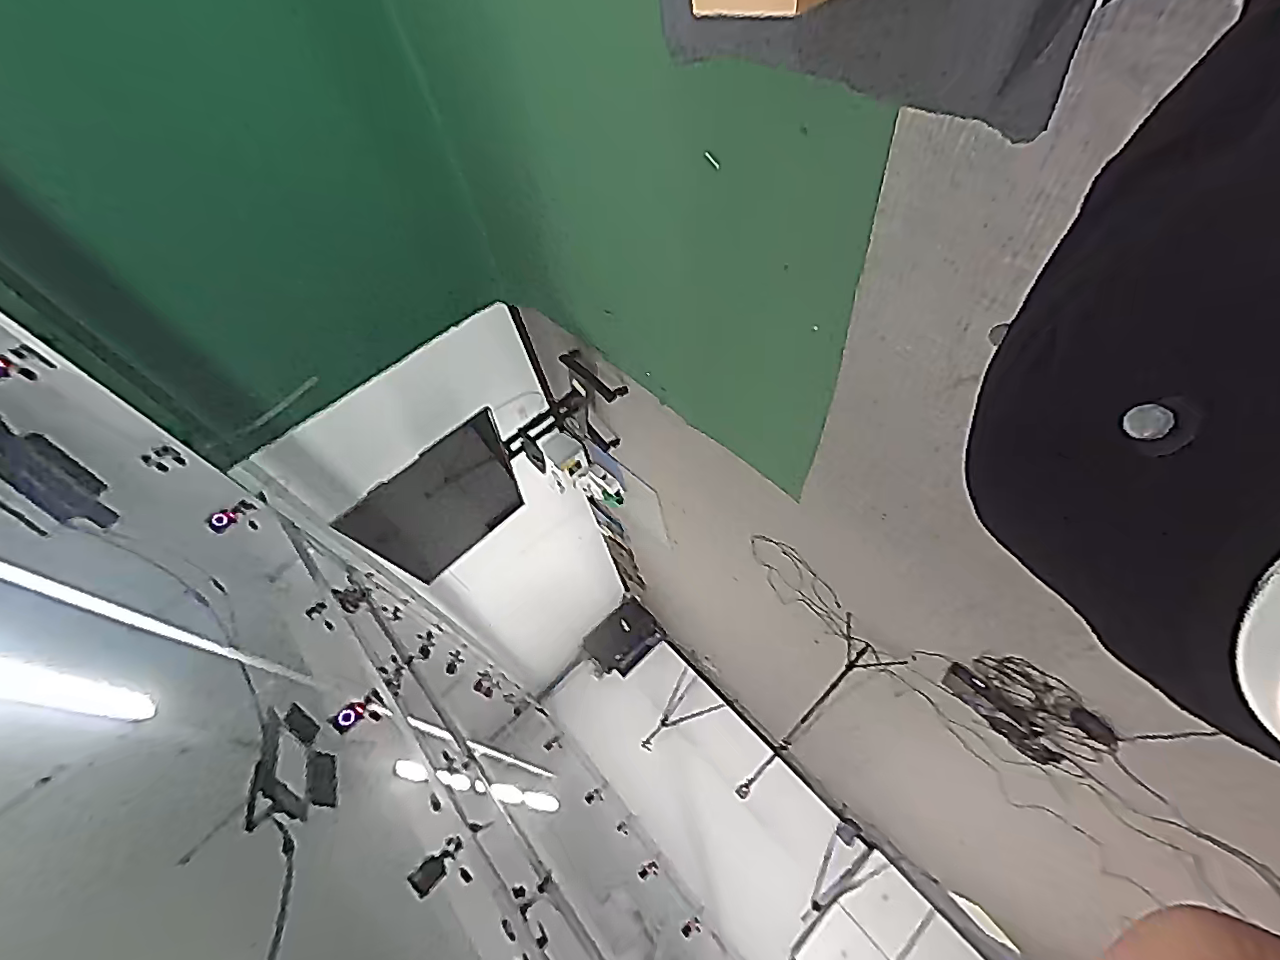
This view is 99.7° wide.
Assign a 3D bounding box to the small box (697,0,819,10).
[{"bbox_3d":[0.177,-0.690,0.641,0.179,0.176,0.168,38,158,36],"label":"small box"}]
